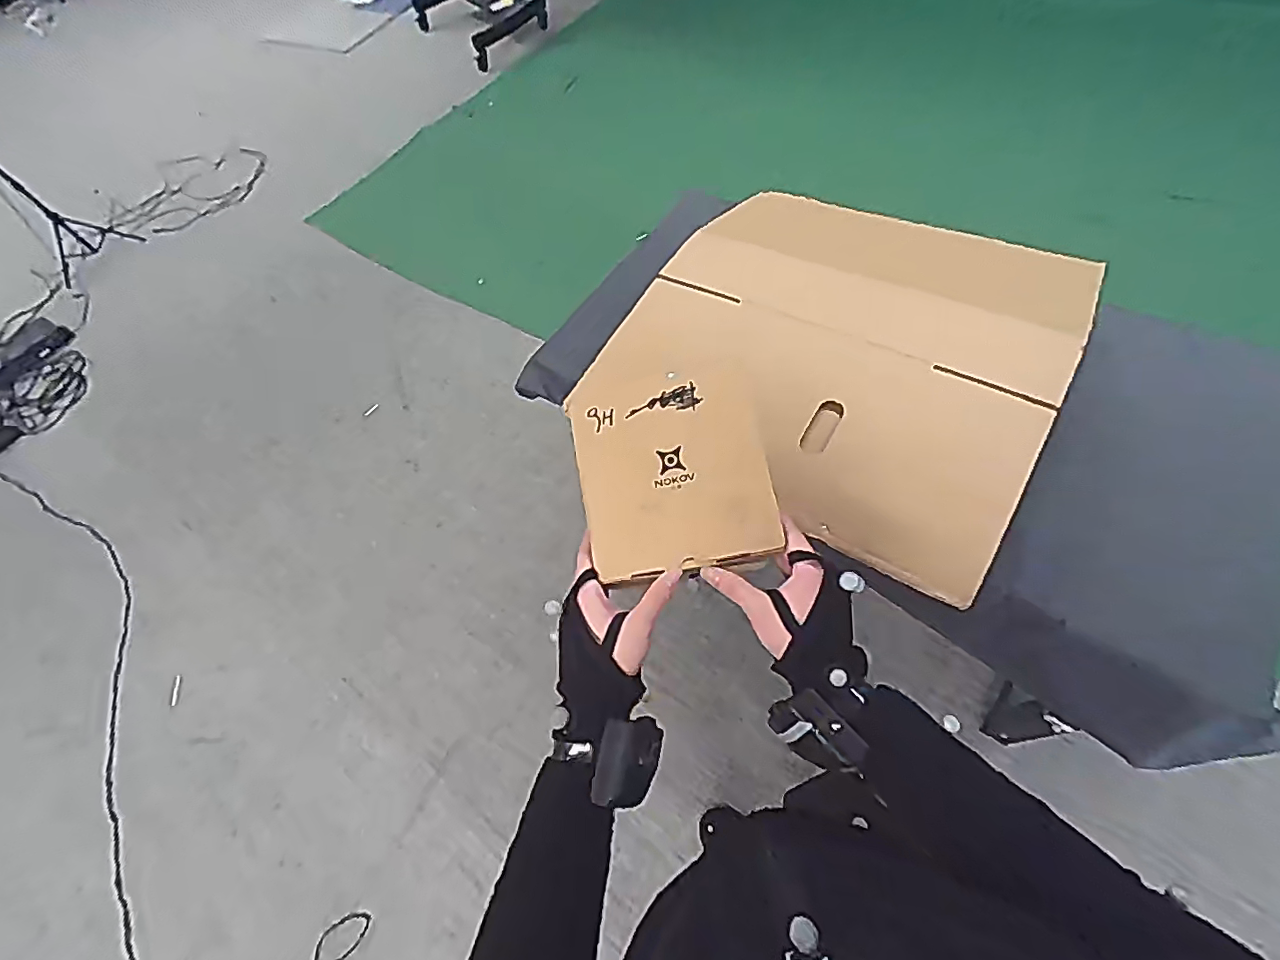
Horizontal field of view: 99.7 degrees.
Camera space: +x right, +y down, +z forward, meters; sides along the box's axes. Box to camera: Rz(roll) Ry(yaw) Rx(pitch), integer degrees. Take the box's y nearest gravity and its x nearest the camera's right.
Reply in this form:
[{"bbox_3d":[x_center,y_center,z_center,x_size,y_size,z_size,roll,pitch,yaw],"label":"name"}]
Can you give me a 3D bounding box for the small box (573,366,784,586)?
[{"bbox_3d":[0.041,0.010,0.566,0.168,0.176,0.179,-13,74,4],"label":"small box"}]
